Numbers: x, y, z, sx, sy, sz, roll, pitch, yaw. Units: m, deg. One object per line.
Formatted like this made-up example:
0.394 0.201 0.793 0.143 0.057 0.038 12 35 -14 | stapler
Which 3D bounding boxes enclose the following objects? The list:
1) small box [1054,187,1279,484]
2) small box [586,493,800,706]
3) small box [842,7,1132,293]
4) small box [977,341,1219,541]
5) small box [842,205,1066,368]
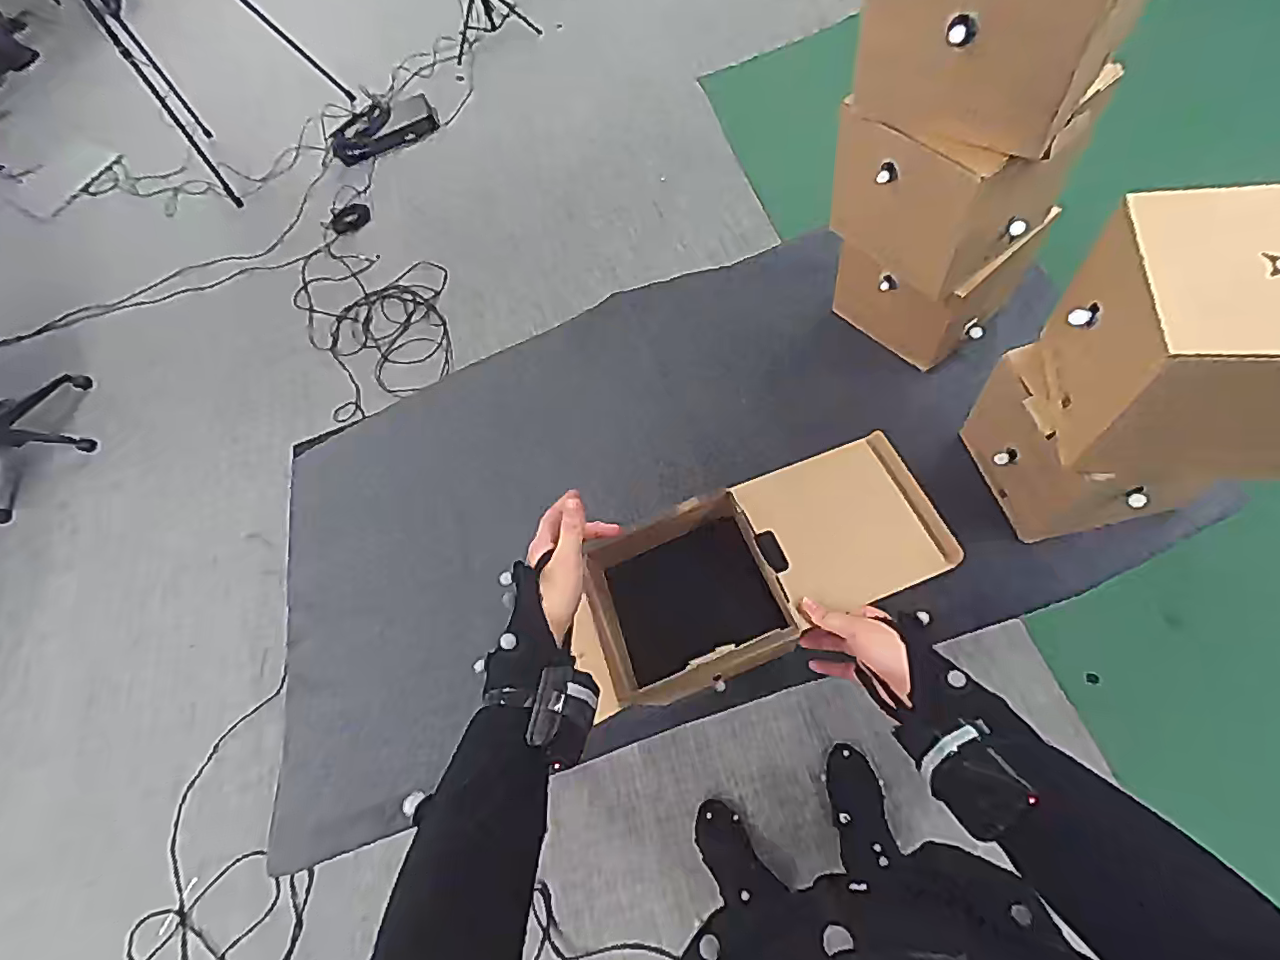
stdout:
0.471 -0.107 0.439 0.179 0.176 0.168 5 65 16 | small box
0.063 0.142 0.615 0.179 0.176 0.168 -24 64 5 | small box
0.338 -0.338 0.576 0.168 0.176 0.179 -38 64 -1 | small box
0.501 -0.048 0.589 0.179 0.176 0.168 -15 61 8 | small box
0.395 -0.284 0.722 0.168 0.176 0.179 -41 66 -3 | small box
